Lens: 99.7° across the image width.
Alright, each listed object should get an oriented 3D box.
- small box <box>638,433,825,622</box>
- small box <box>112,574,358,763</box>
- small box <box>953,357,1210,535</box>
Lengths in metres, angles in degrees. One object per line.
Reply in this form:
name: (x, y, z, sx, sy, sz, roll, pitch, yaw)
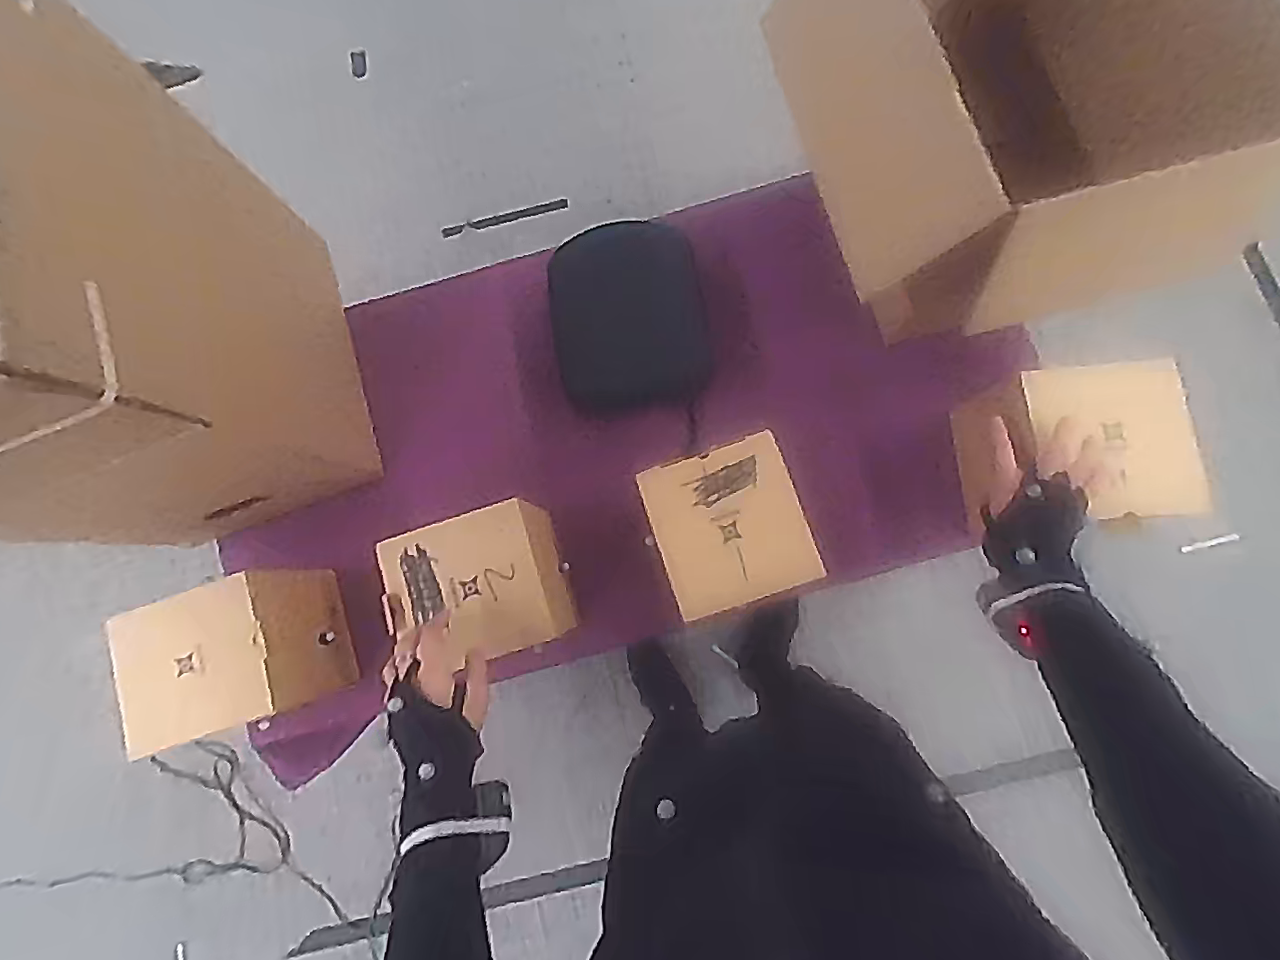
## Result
small box: (0.102, 0.064, 0.677, 0.168, 0.176, 0.179, -19, 81, 1)
small box: (-0.504, 0.228, 0.693, 0.179, 0.176, 0.168, -20, 80, -1)
small box: (0.513, -0.031, 0.661, 0.168, 0.176, 0.179, -5, 80, 4)
